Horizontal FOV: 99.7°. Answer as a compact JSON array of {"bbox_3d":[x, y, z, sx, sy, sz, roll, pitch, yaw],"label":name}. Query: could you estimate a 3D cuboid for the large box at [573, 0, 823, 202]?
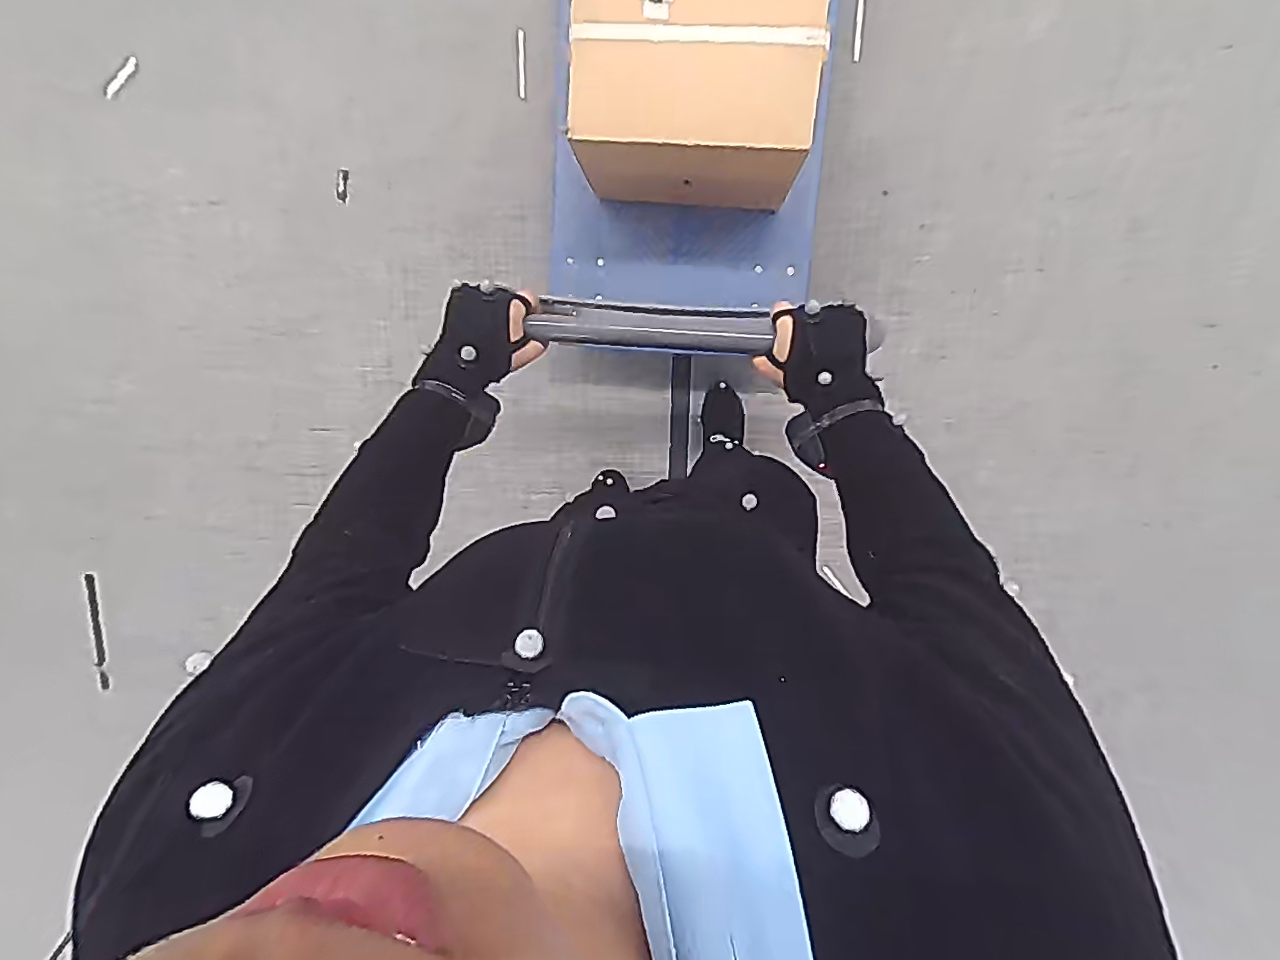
[{"bbox_3d":[0.106,-0.740,1.027,0.408,0.320,0.320,5,100,5],"label":"large box"}]
